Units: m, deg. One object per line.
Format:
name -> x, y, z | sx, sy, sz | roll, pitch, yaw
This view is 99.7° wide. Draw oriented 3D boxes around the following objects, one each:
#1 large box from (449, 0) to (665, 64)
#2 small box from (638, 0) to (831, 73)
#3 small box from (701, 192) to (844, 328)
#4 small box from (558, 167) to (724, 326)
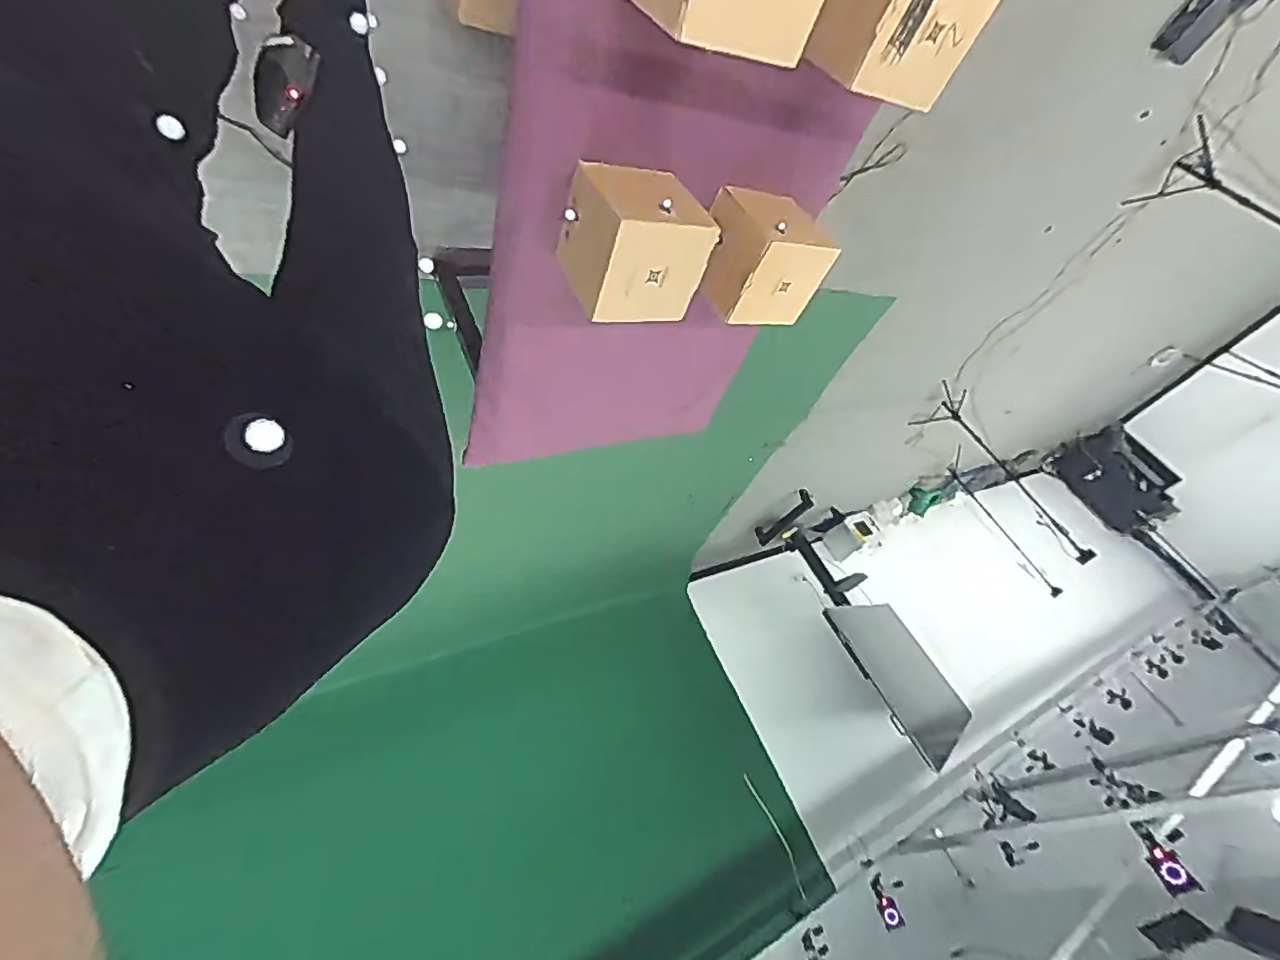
large box -> -0.160, -1.039, 0.993 | 0.408, 0.320, 0.320 | -12, 149, -29
small box -> 0.104, -0.578, 0.577 | 0.179, 0.176, 0.168 | -13, 149, -29
small box -> 0.224, -0.399, 0.991 | 0.179, 0.176, 0.168 | -9, 147, -30
small box -> -0.007, -0.361, 0.846 | 0.179, 0.176, 0.168 | -11, 147, -31
